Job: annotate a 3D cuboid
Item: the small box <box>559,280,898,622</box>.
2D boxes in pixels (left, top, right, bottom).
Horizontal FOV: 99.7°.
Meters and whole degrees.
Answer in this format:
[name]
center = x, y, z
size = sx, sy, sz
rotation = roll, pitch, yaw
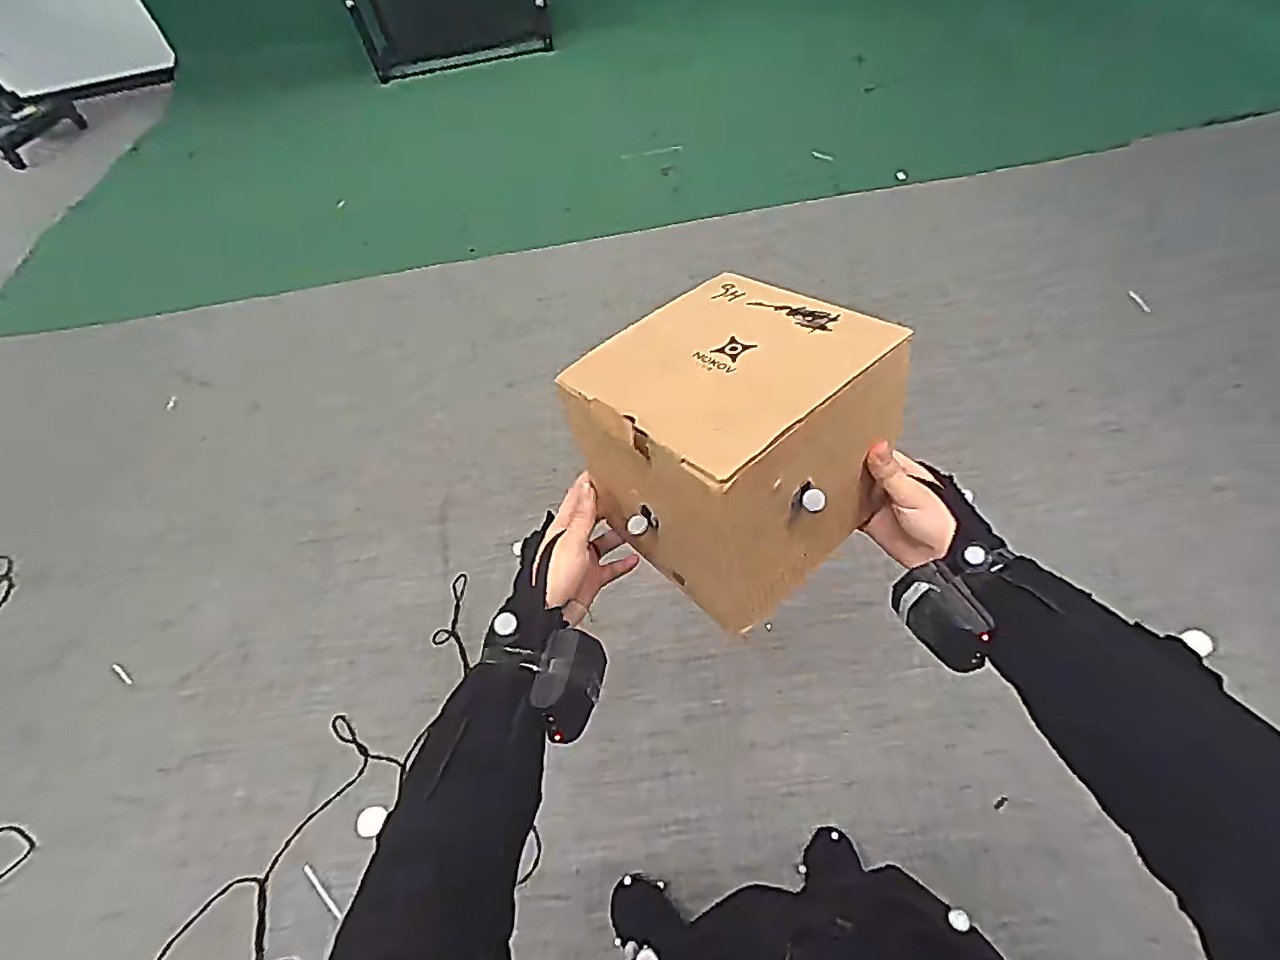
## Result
[small box]
center = 0.070, -0.024, 0.425
size = 0.179, 0.176, 0.168
rotation = -37, 50, -21
